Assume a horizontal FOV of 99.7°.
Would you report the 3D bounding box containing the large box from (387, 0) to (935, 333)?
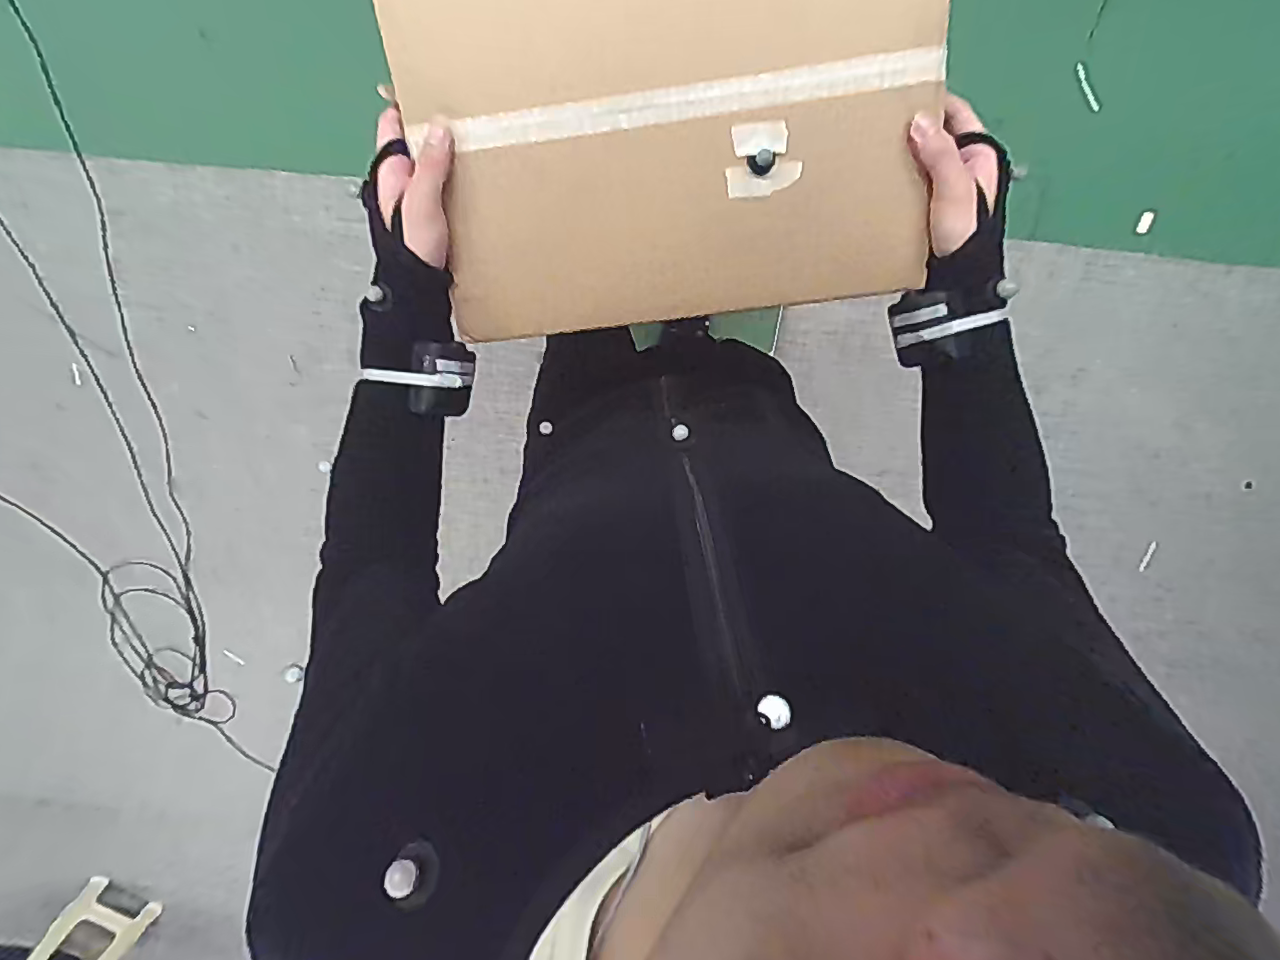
[{"bbox_3d":[0.021,-0.354,0.556,0.408,0.320,0.320,-7,114,3],"label":"large box"}]
